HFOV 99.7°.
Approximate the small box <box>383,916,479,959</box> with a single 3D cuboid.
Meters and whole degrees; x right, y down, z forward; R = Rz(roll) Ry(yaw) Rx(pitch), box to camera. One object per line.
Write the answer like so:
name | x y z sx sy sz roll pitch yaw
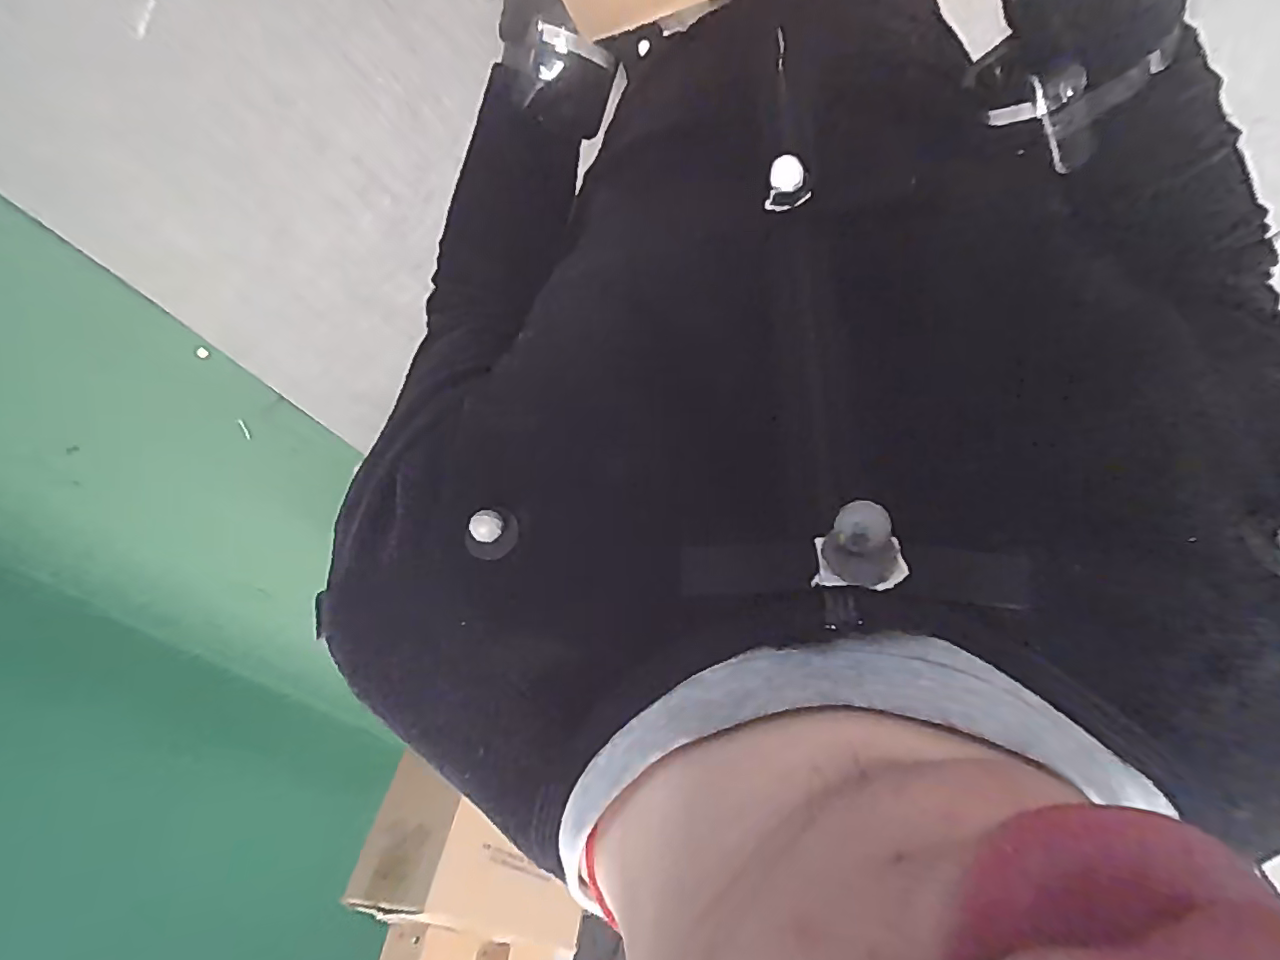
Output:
small box | -0.545 1.234 1.381 0.168 0.176 0.179 -27 125 28
